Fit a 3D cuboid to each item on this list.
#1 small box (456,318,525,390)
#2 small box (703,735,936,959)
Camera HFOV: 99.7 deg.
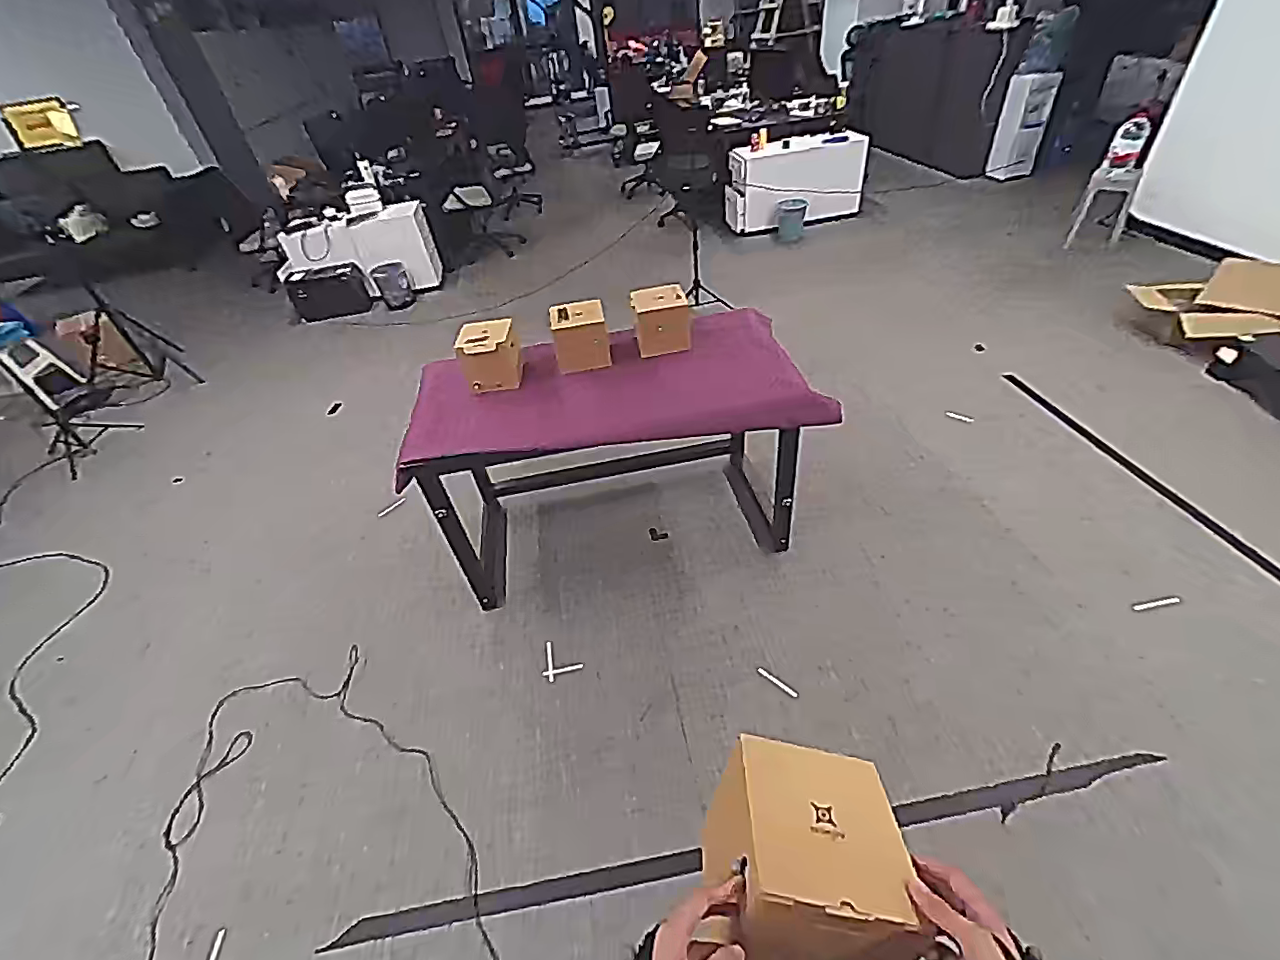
[{"bbox_3d":[-0.487,-0.411,1.788,0.168,0.176,0.179,-6,42,1],"label":"small box"},{"bbox_3d":[0.168,0.417,0.578,0.168,0.176,0.179,13,23,-2],"label":"small box"}]
